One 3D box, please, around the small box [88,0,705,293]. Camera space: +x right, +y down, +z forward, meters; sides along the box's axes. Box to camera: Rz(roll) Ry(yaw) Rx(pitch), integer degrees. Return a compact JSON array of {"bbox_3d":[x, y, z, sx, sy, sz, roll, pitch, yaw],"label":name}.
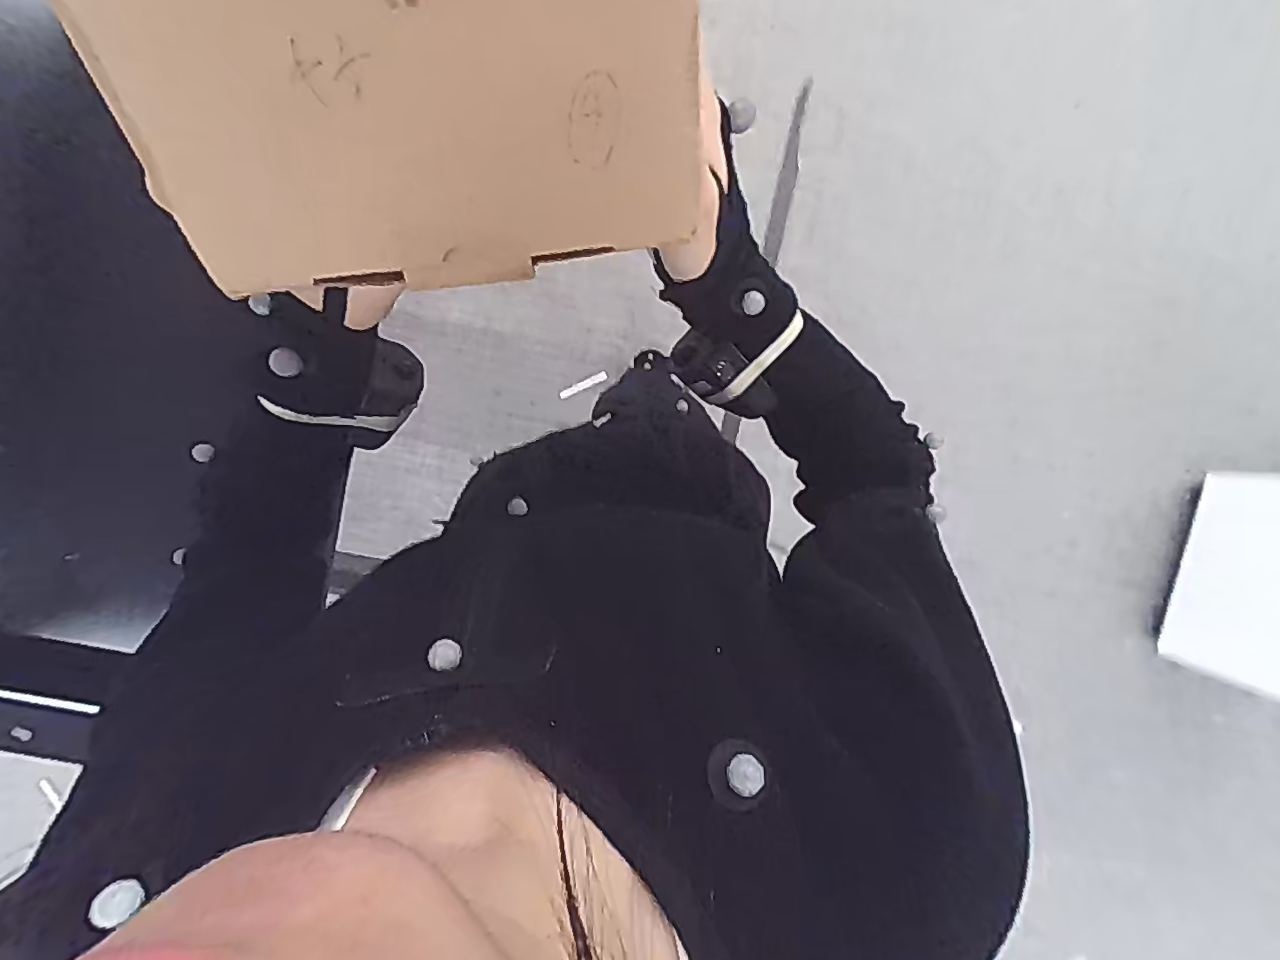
[{"bbox_3d":[-0.074,-0.192,0.201,0.168,0.176,0.179,-9,129,-5],"label":"small box"}]
